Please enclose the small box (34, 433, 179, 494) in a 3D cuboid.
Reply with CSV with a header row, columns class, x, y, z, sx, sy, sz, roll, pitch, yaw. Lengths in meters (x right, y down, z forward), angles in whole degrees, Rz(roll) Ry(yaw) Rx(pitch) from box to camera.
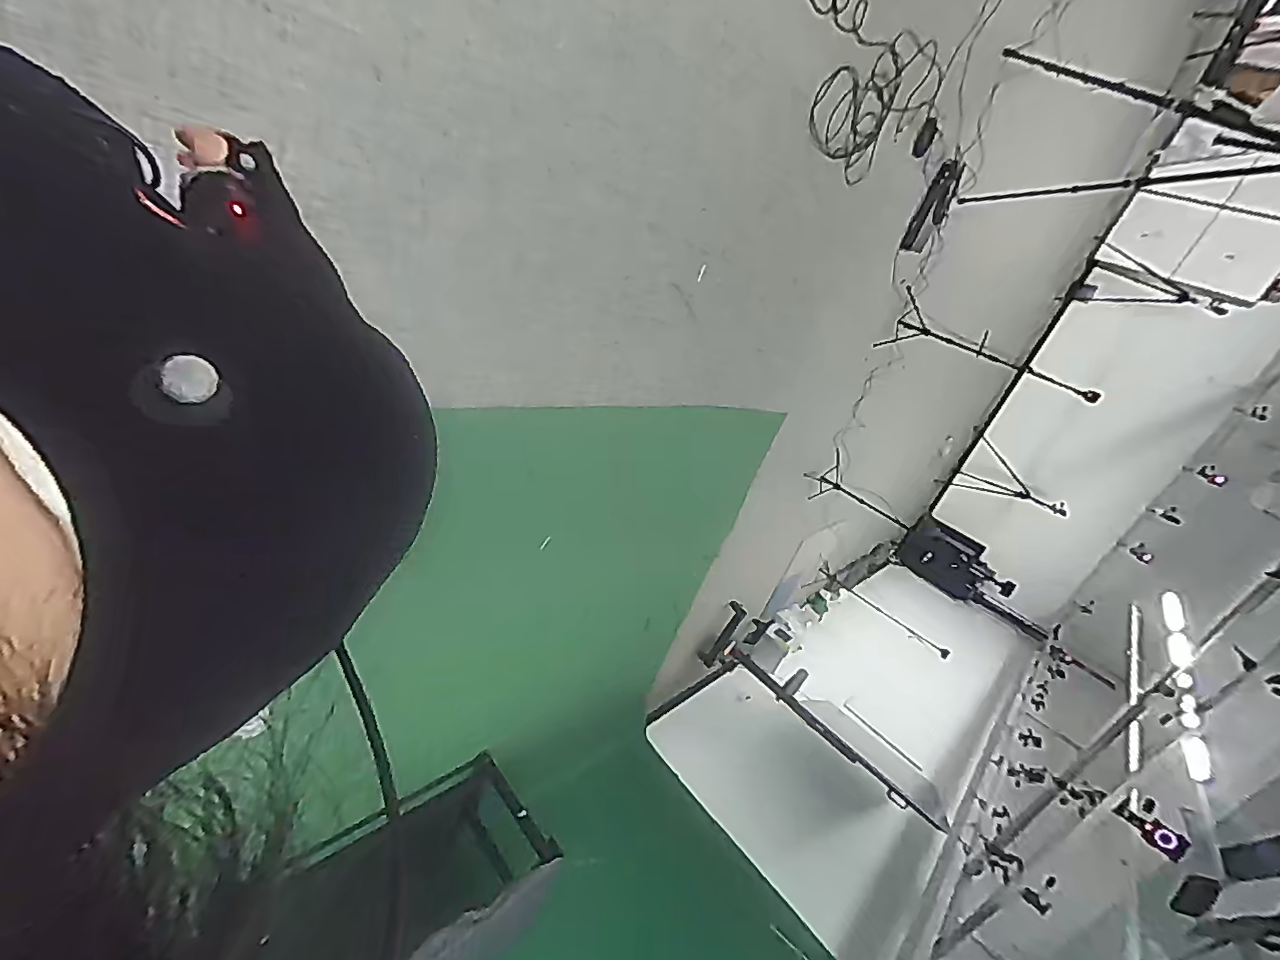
class,x,y,z,sx,sy,sz,roll,pitch,yaw
small box,-0.976,0.022,0.993,0.179,0.176,0.168,-4,123,-47
